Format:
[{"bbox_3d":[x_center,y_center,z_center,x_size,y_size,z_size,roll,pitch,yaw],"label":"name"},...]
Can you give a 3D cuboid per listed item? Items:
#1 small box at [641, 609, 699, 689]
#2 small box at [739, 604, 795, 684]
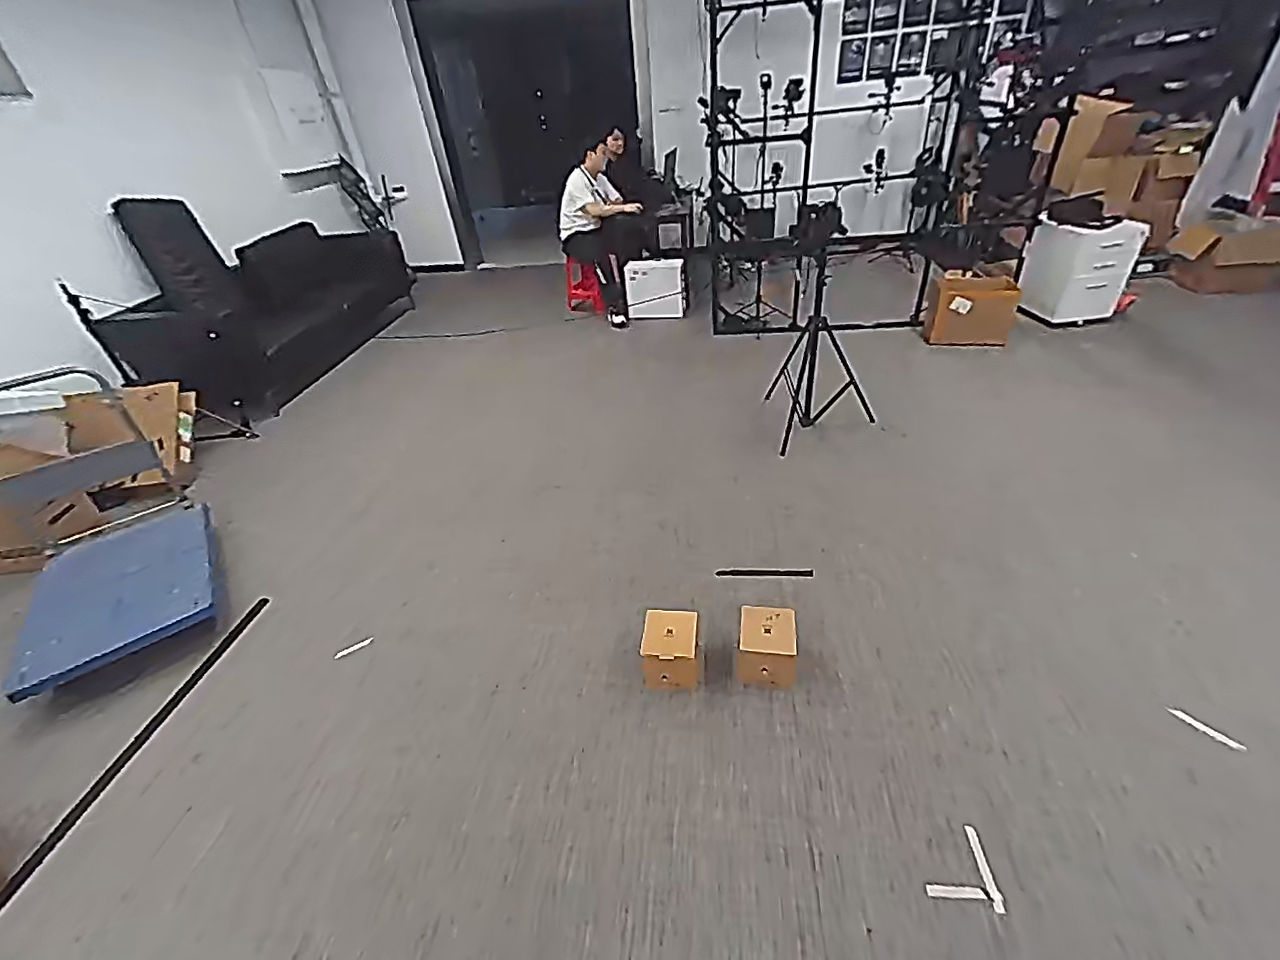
[{"bbox_3d":[0.101,0.537,1.725,0.168,0.176,0.179,0,36,9],"label":"small box"},{"bbox_3d":[0.398,0.517,1.699,0.168,0.176,0.179,2,36,11],"label":"small box"}]
